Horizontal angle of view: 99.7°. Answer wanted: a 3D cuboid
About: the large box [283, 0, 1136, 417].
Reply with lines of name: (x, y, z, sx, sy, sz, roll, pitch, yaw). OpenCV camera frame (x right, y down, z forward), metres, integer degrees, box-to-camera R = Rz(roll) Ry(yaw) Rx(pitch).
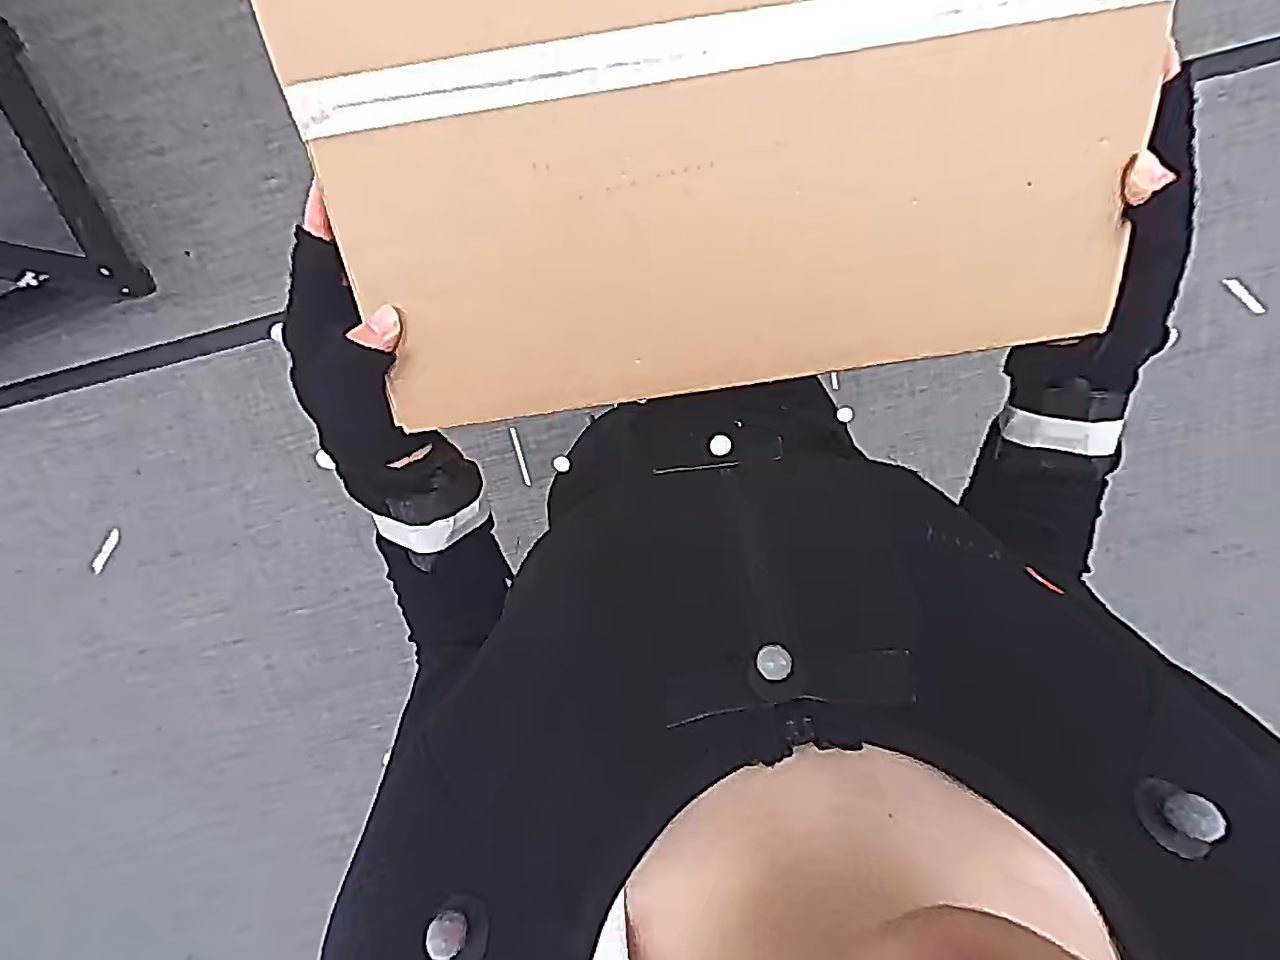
large box: (0.031, -0.263, 0.397, 0.408, 0.320, 0.320, -9, 114, 1)
